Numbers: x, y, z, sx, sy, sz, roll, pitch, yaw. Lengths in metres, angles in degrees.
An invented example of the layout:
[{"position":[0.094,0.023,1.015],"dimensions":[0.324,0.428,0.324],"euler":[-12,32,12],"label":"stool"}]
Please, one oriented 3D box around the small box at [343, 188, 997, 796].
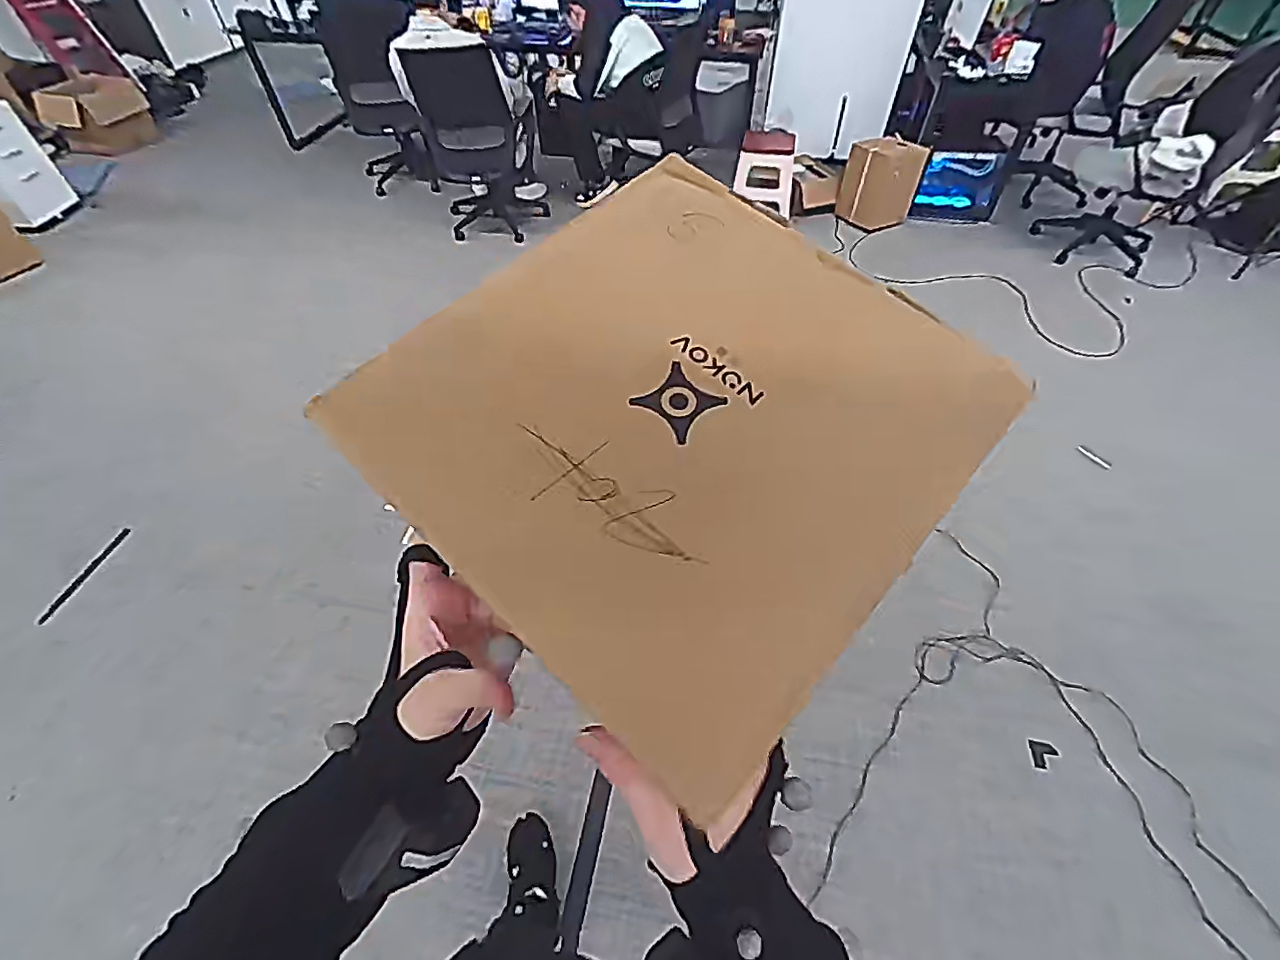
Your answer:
[{"position":[0.013,0.011,0.260],"dimensions":[0.168,0.176,0.179],"euler":[38,70,16],"label":"small box"}]
